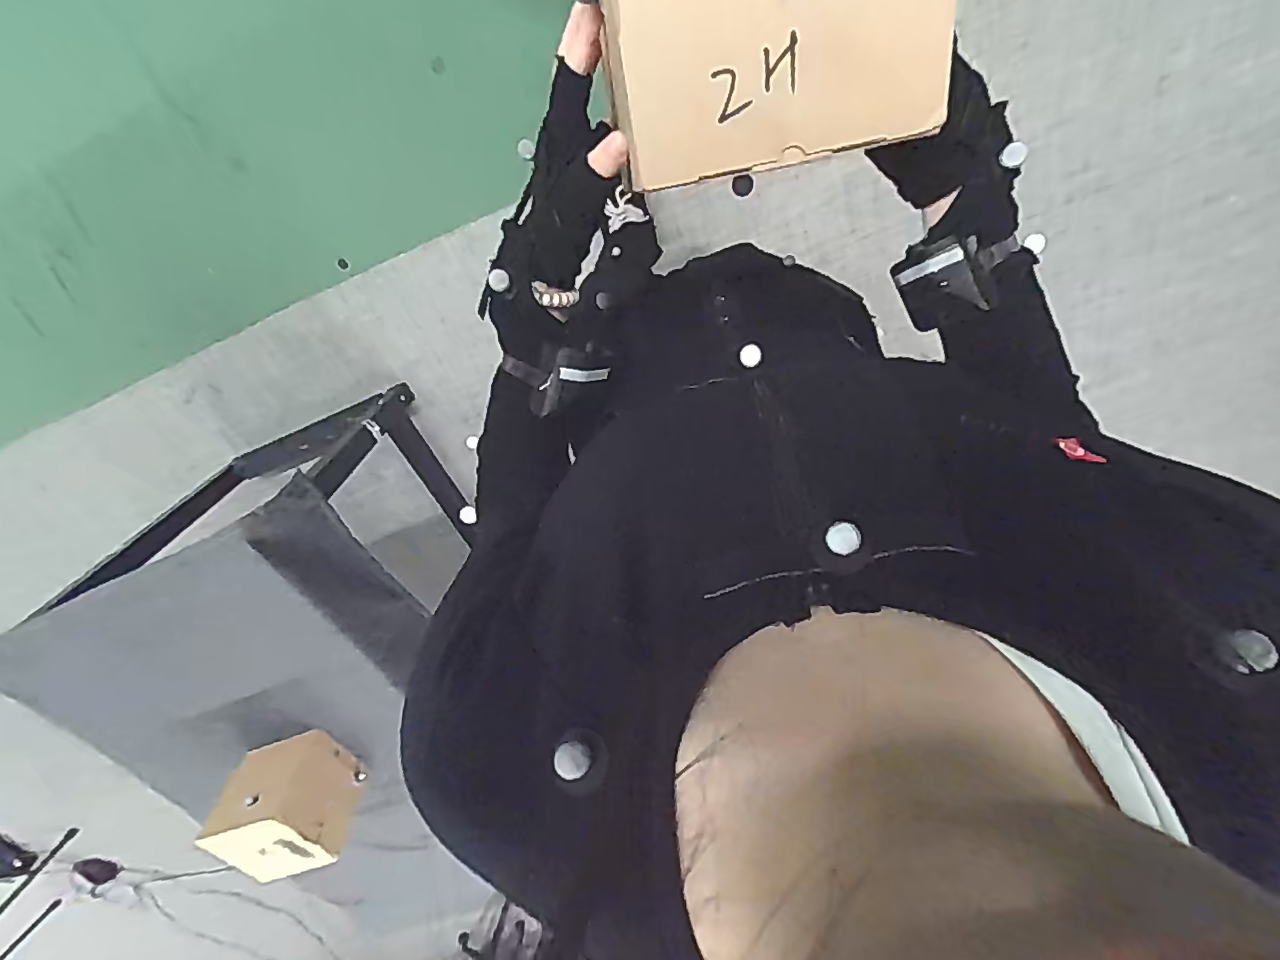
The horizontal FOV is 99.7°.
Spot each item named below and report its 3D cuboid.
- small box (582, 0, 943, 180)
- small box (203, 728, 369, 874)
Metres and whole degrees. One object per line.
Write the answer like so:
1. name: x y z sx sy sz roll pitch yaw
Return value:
1. small box: 0.052 -0.285 0.314 0.168 0.176 0.179 -11 120 1
2. small box: -0.647 0.600 1.021 0.179 0.176 0.168 -21 119 11
